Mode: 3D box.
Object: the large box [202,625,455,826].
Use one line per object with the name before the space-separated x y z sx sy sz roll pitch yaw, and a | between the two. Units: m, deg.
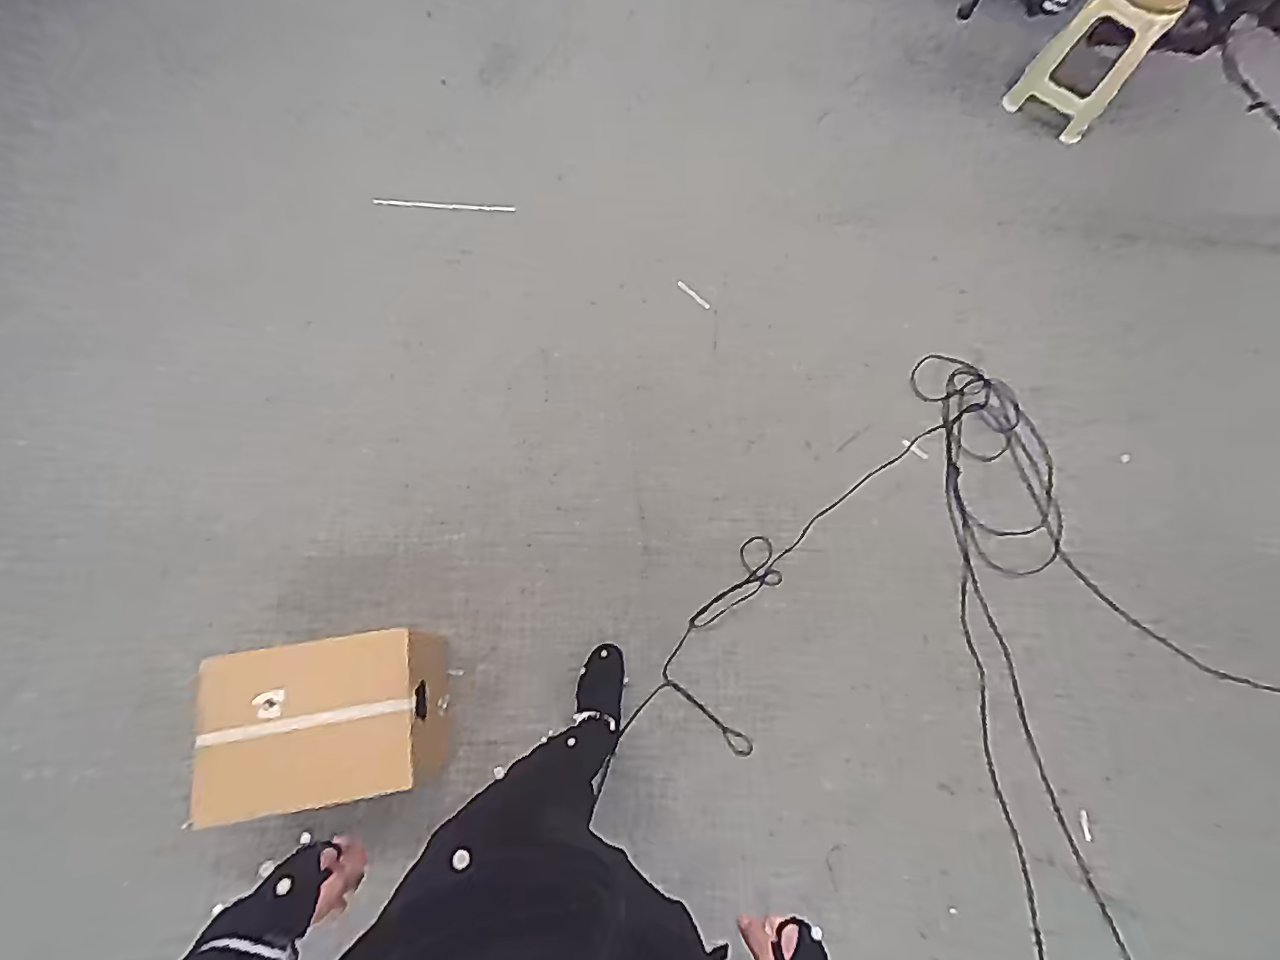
large box | -0.669 0.528 1.229 0.408 0.320 0.320 -8 72 -7
